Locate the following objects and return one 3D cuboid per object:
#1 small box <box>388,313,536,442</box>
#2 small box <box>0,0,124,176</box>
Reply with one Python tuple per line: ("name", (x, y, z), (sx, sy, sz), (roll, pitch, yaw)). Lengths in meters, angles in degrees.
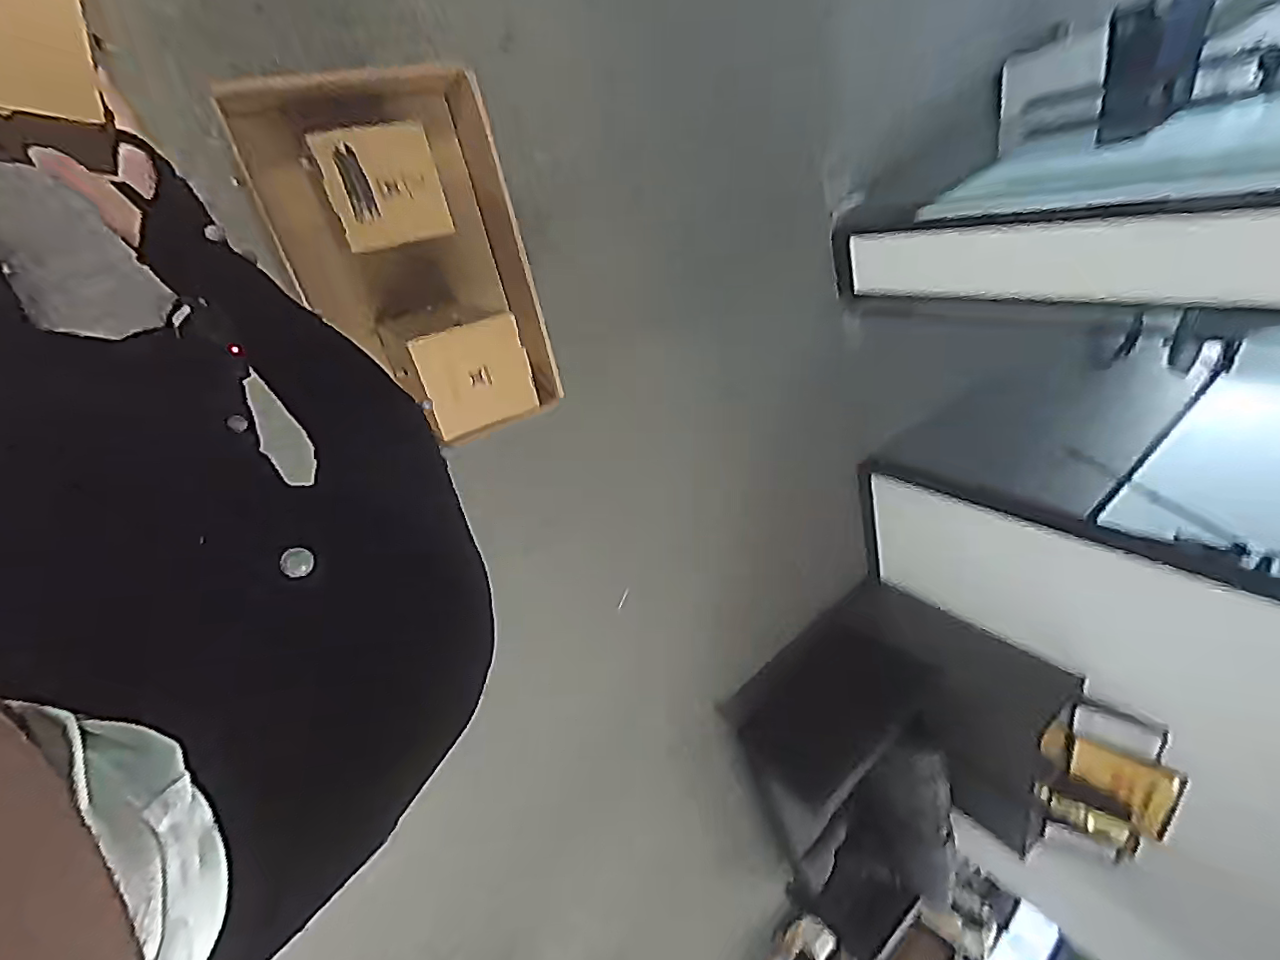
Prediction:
("small box", (-0.309, -0.187, 0.939), (0.179, 0.176, 0.168), (-25, 120, -25))
("small box", (-0.590, -0.391, 0.470), (0.168, 0.176, 0.179), (-12, 108, -34))
